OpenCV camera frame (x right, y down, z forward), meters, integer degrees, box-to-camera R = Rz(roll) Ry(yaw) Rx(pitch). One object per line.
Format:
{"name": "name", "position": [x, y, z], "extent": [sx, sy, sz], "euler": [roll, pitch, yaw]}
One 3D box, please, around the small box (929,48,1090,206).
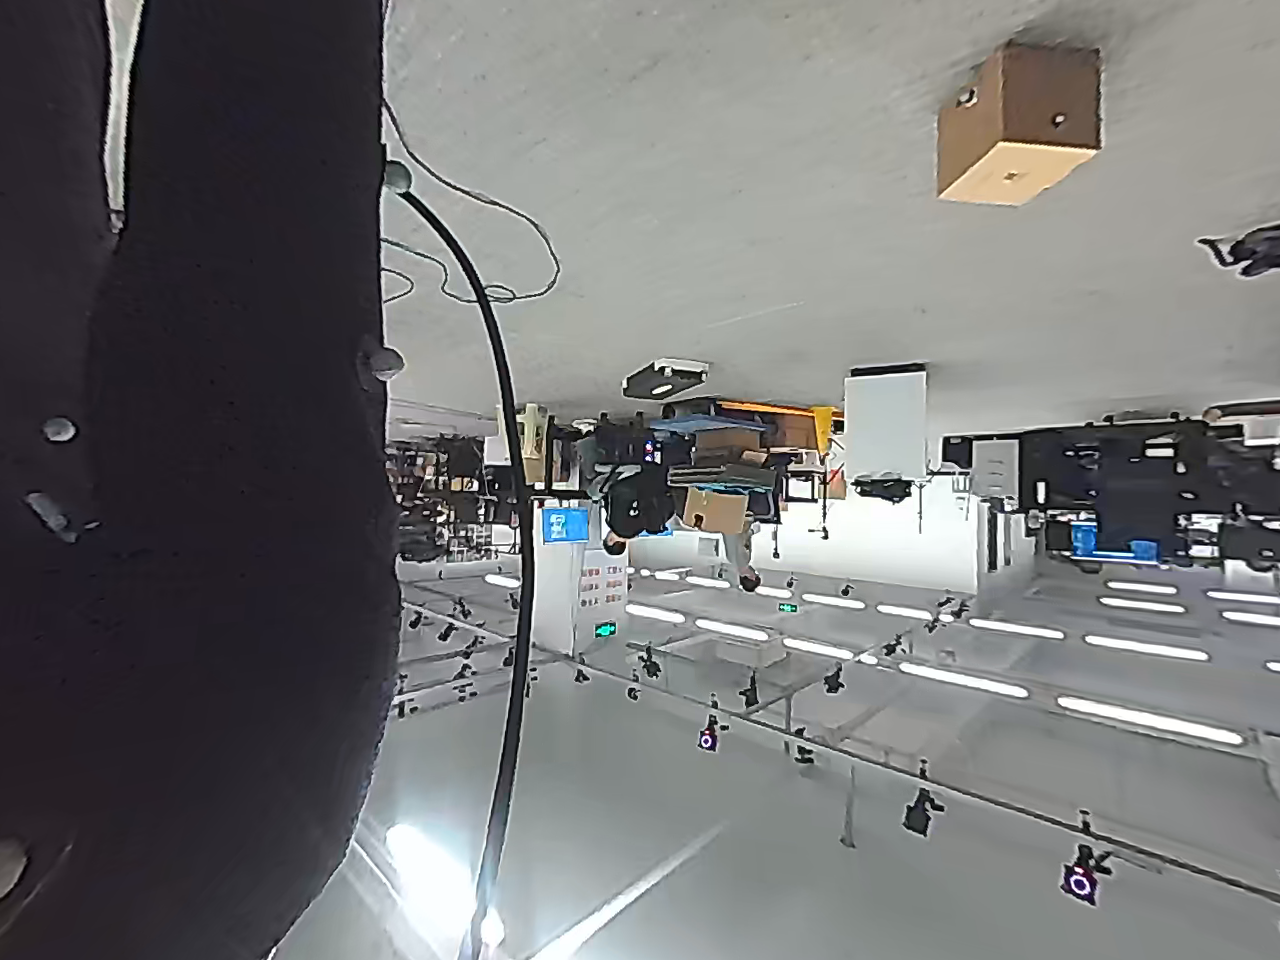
{"name": "small box", "position": [0.637, -0.608, 0.945], "extent": [0.179, 0.176, 0.168], "euler": [2, 177, -5]}
